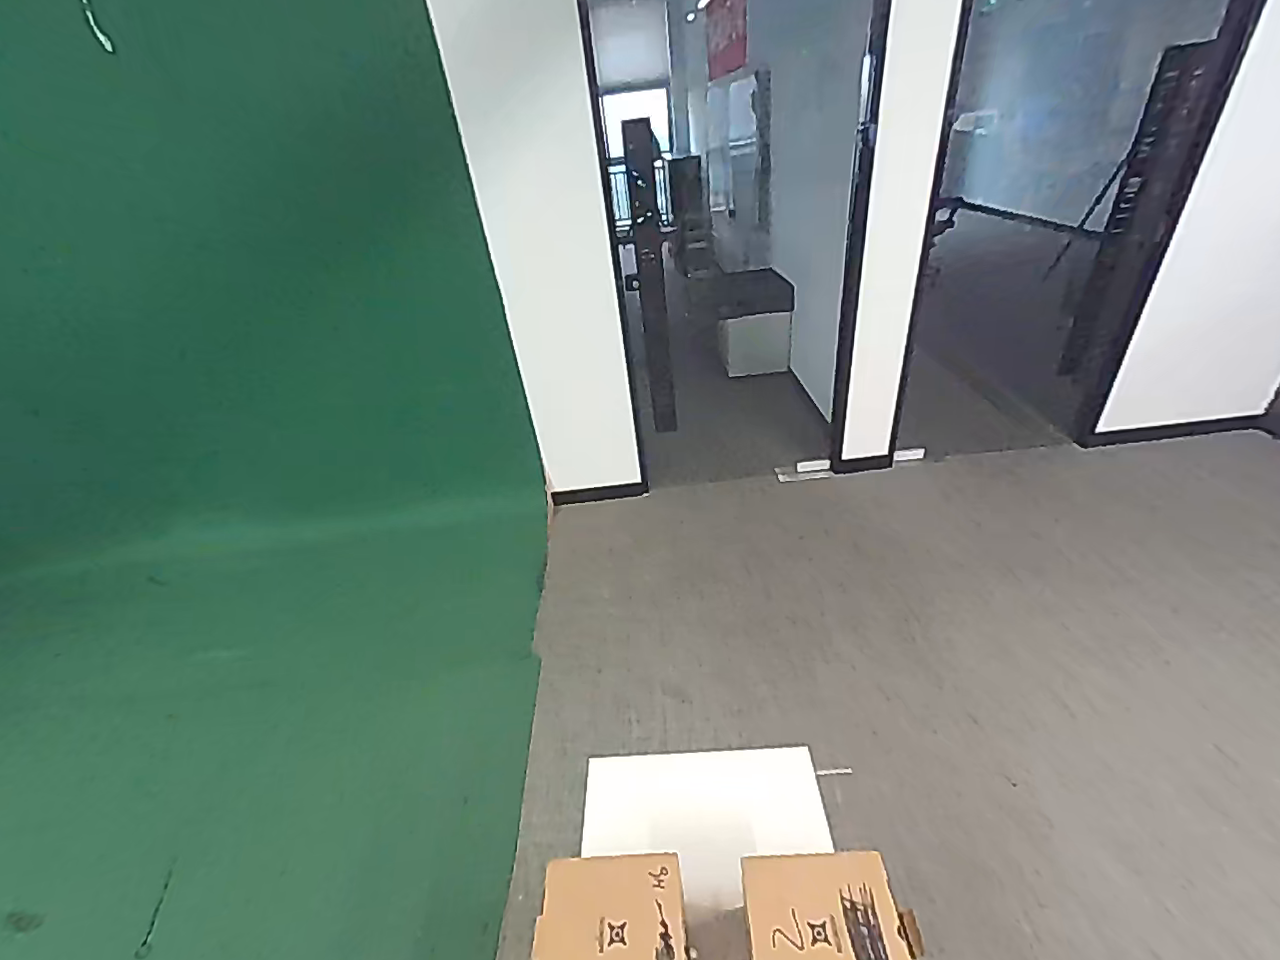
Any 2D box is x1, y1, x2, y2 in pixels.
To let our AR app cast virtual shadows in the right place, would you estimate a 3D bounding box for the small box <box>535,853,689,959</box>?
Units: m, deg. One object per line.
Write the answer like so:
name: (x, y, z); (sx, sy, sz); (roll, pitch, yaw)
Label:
small box: (-0.028, 0.606, 0.686); (0.179, 0.176, 0.168); (-5, 34, 3)
